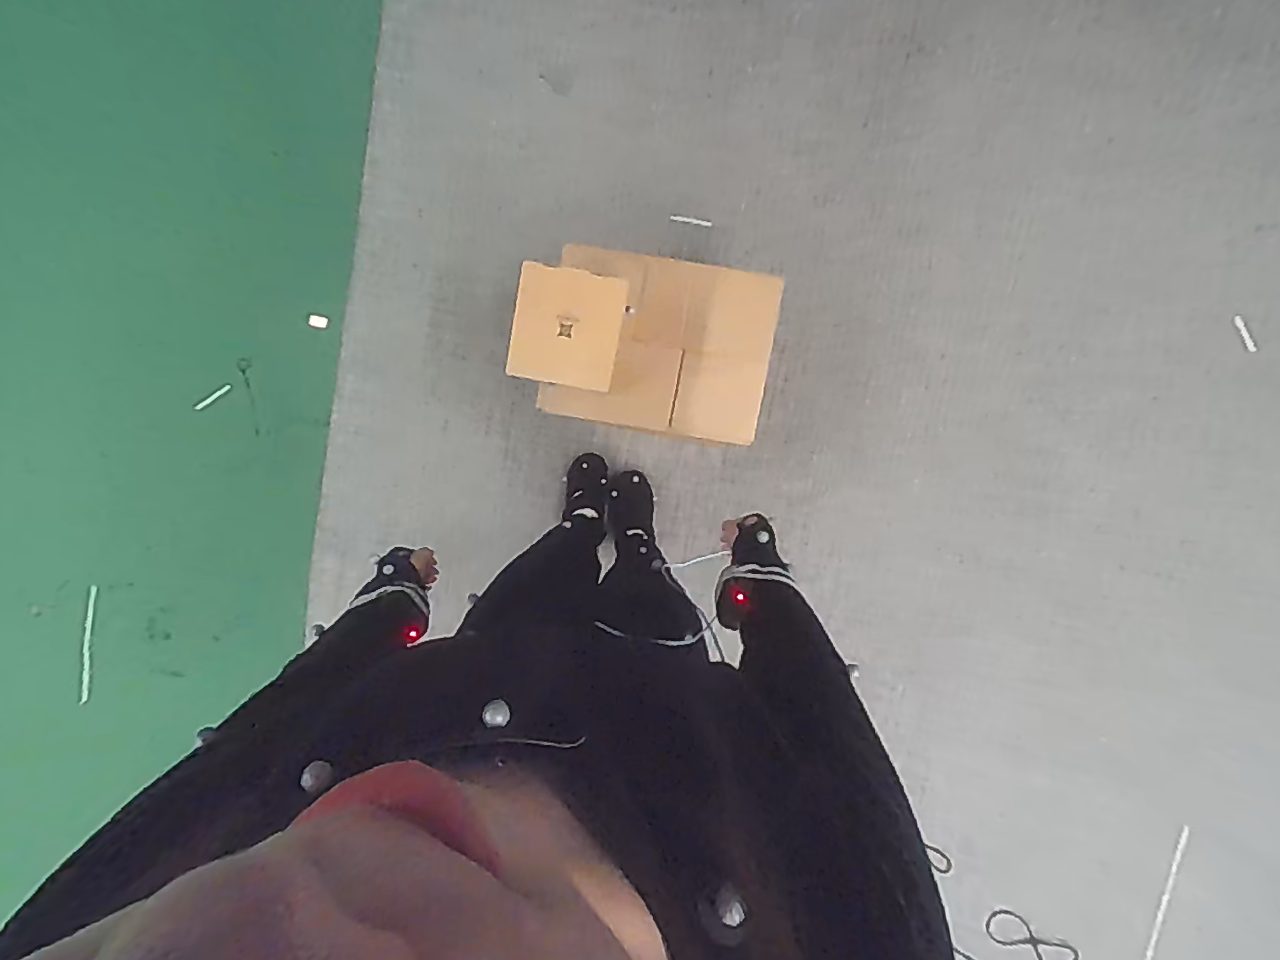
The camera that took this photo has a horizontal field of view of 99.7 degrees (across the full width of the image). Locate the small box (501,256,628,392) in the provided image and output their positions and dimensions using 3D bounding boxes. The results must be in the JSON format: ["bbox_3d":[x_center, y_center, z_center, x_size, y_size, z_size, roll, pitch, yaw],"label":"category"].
[{"bbox_3d":[-0.116,-0.248,0.904,0.168,0.176,0.179,12,97,0],"label":"small box"}]
